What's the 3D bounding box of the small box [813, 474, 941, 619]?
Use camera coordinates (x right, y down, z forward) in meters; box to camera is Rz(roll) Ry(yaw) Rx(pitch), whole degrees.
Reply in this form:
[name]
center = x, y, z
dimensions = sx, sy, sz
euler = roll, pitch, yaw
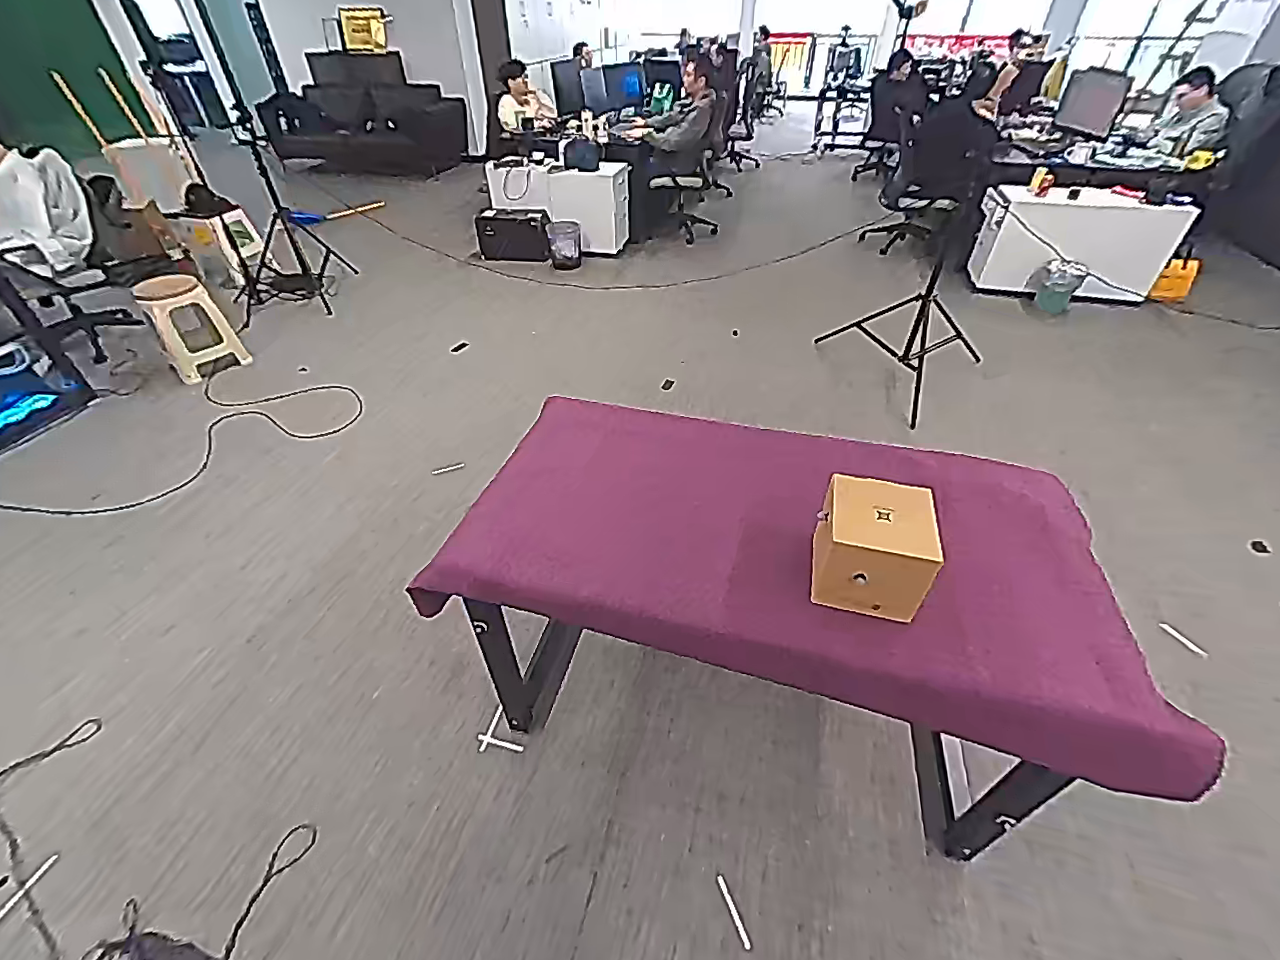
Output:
[small box]
center = 0.405, 0.118, 0.951
dimensions = 0.168, 0.176, 0.179
euler = 10, 41, 12
